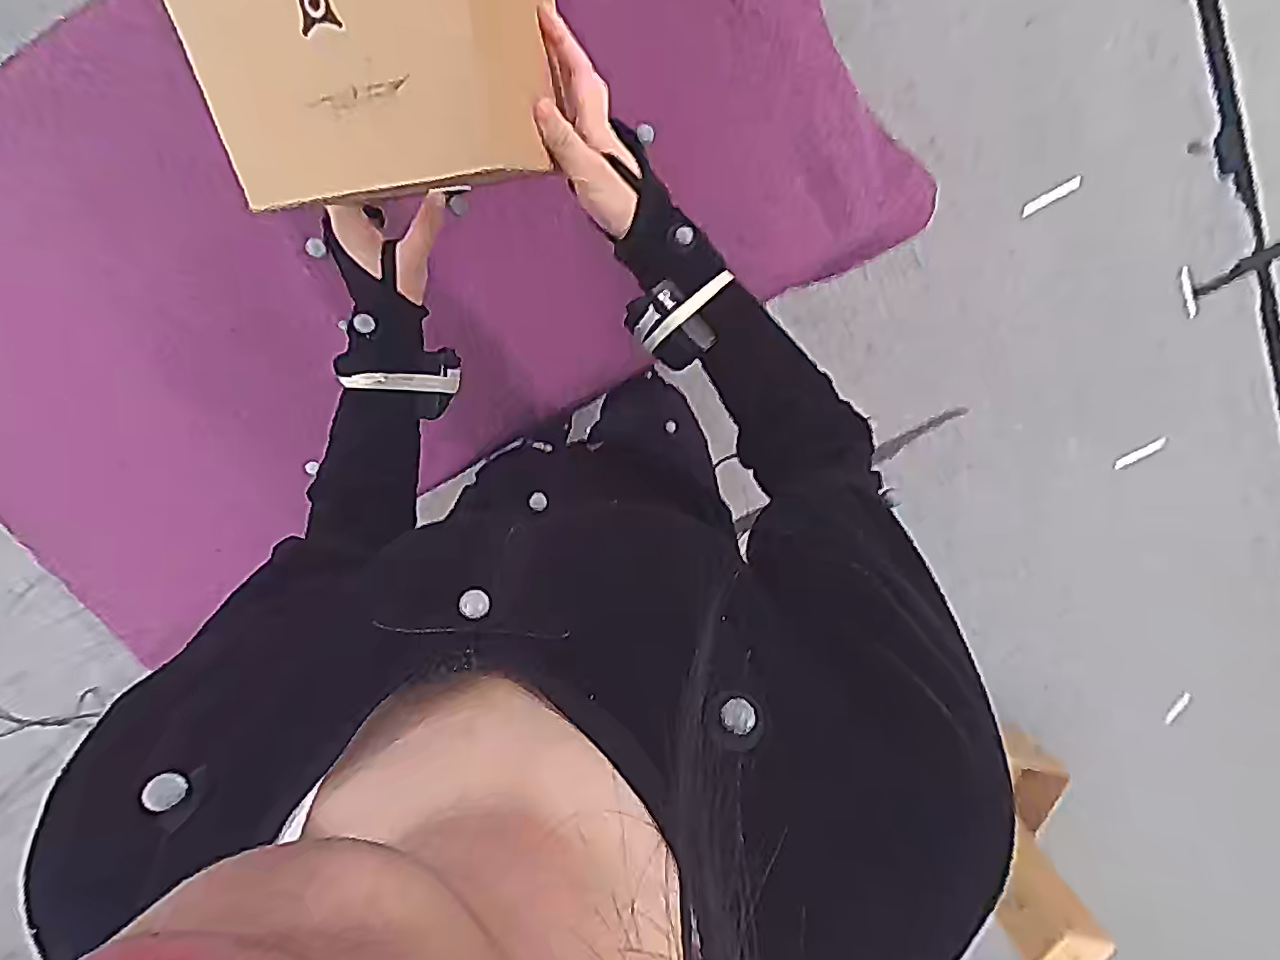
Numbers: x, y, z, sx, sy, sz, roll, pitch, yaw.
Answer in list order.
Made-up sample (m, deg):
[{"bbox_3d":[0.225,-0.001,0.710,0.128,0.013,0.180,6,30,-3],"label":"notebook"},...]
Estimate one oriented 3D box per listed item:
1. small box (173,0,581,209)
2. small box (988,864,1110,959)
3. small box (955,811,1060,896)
[{"bbox_3d":[-0.144,-0.276,0.335,0.168,0.176,0.179,-2,119,11],"label":"small box"},{"bbox_3d":[1.145,1.228,1.527,0.179,0.176,0.168,18,107,-10],"label":"small box"},{"bbox_3d":[1.128,1.168,1.678,0.179,0.176,0.168,19,107,-10],"label":"small box"}]
